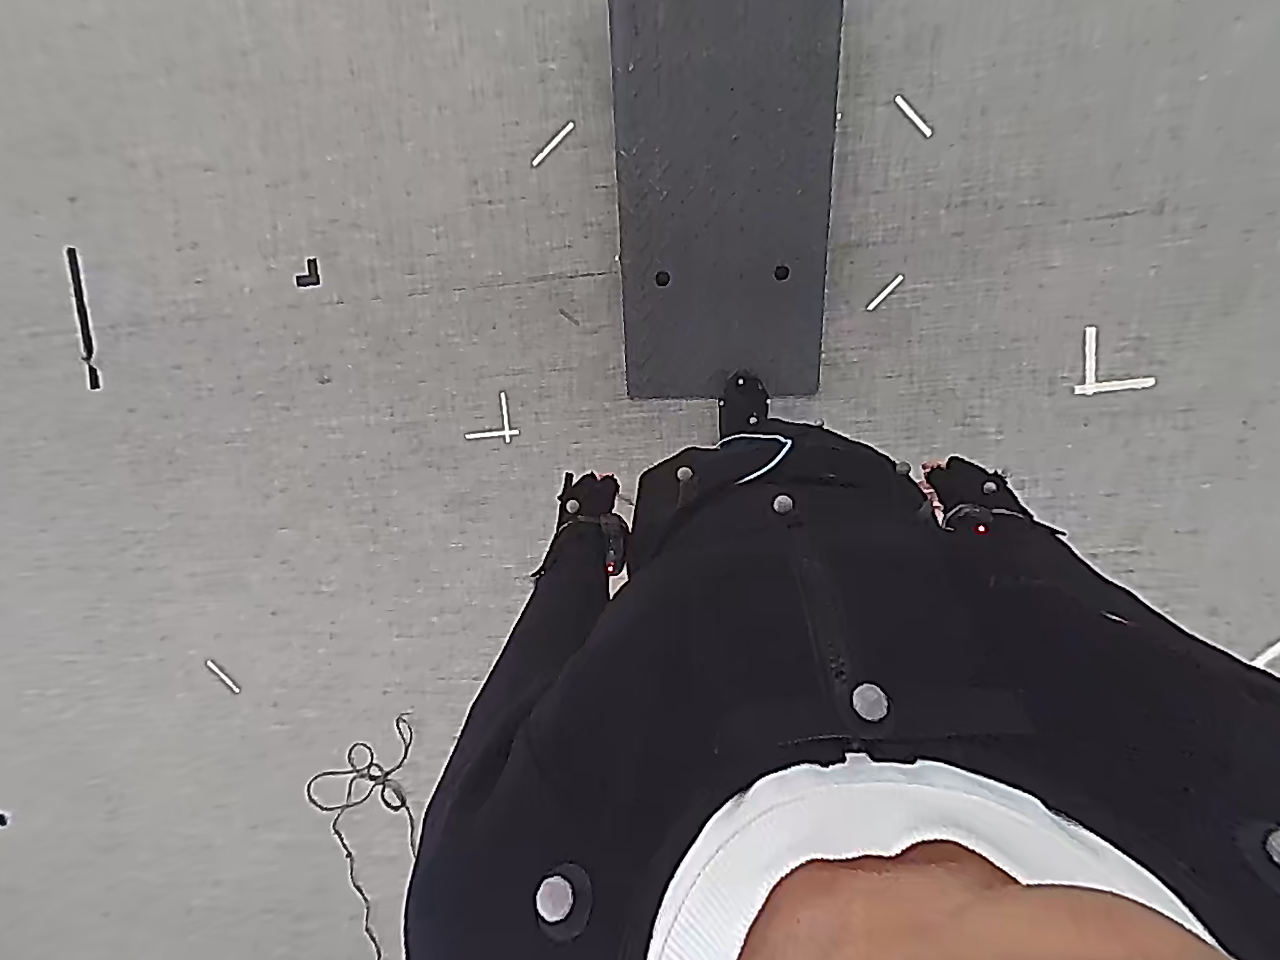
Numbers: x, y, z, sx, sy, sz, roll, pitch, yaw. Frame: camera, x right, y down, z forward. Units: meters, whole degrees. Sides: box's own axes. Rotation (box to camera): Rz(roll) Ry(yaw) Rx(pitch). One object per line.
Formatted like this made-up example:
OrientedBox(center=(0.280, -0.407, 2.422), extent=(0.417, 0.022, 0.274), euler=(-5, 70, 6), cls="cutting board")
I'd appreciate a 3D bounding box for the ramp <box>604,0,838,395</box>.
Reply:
OrientedBox(center=(0.182, -0.697, 1.240), extent=(0.509, 0.206, 0.991), euler=(-2, 99, 6), cls="ramp")
